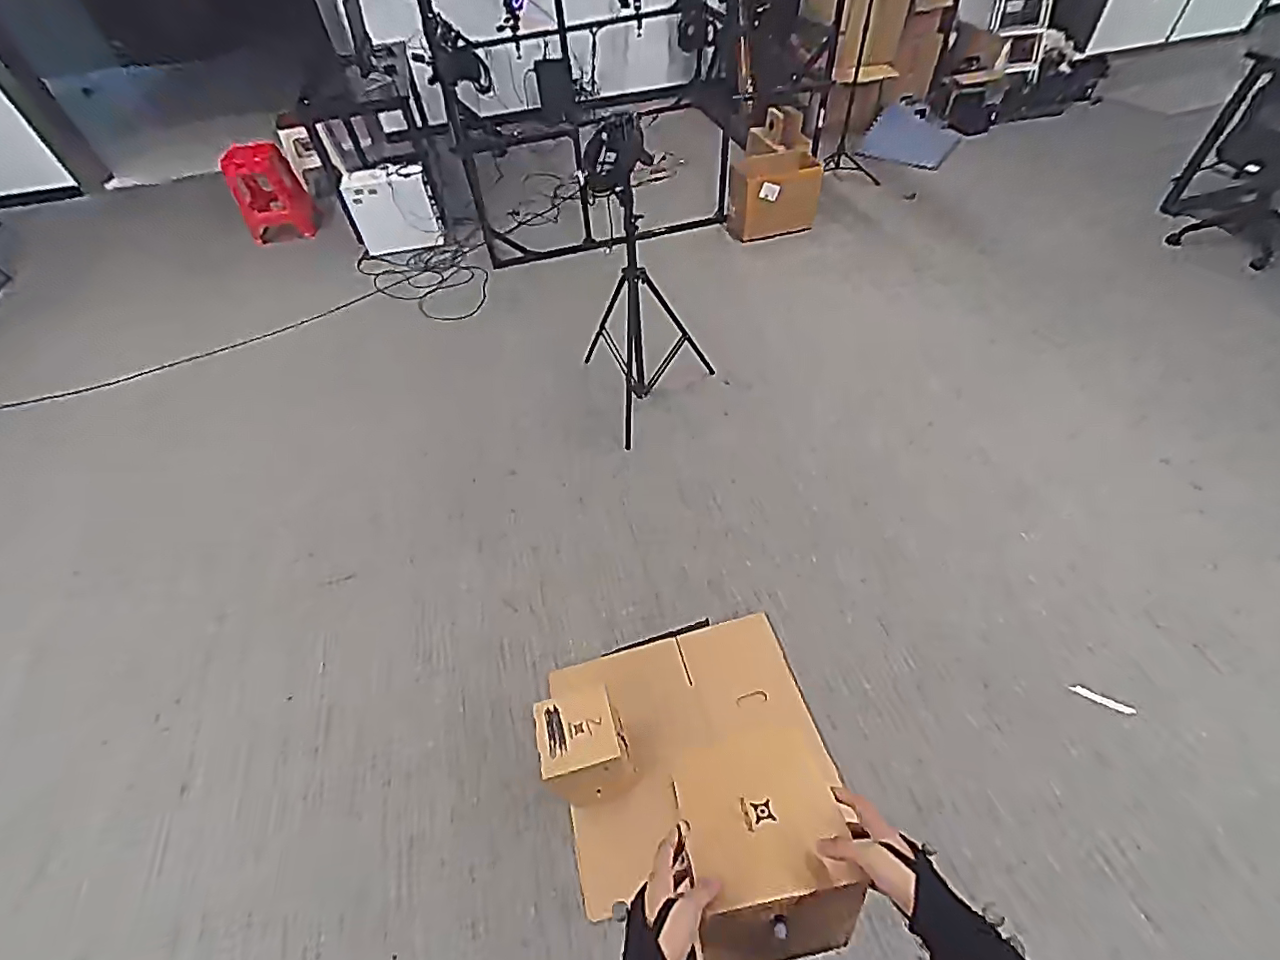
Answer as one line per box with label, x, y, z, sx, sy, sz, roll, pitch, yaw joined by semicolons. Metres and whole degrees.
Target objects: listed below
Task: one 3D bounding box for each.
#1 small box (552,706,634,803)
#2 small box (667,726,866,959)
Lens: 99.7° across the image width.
small box;-0.118;0.713;1.401;0.179;0.176;0.168;-15;51;-6
small box;0.135;0.426;0.635;0.179;0.176;0.168;-10;32;-5
